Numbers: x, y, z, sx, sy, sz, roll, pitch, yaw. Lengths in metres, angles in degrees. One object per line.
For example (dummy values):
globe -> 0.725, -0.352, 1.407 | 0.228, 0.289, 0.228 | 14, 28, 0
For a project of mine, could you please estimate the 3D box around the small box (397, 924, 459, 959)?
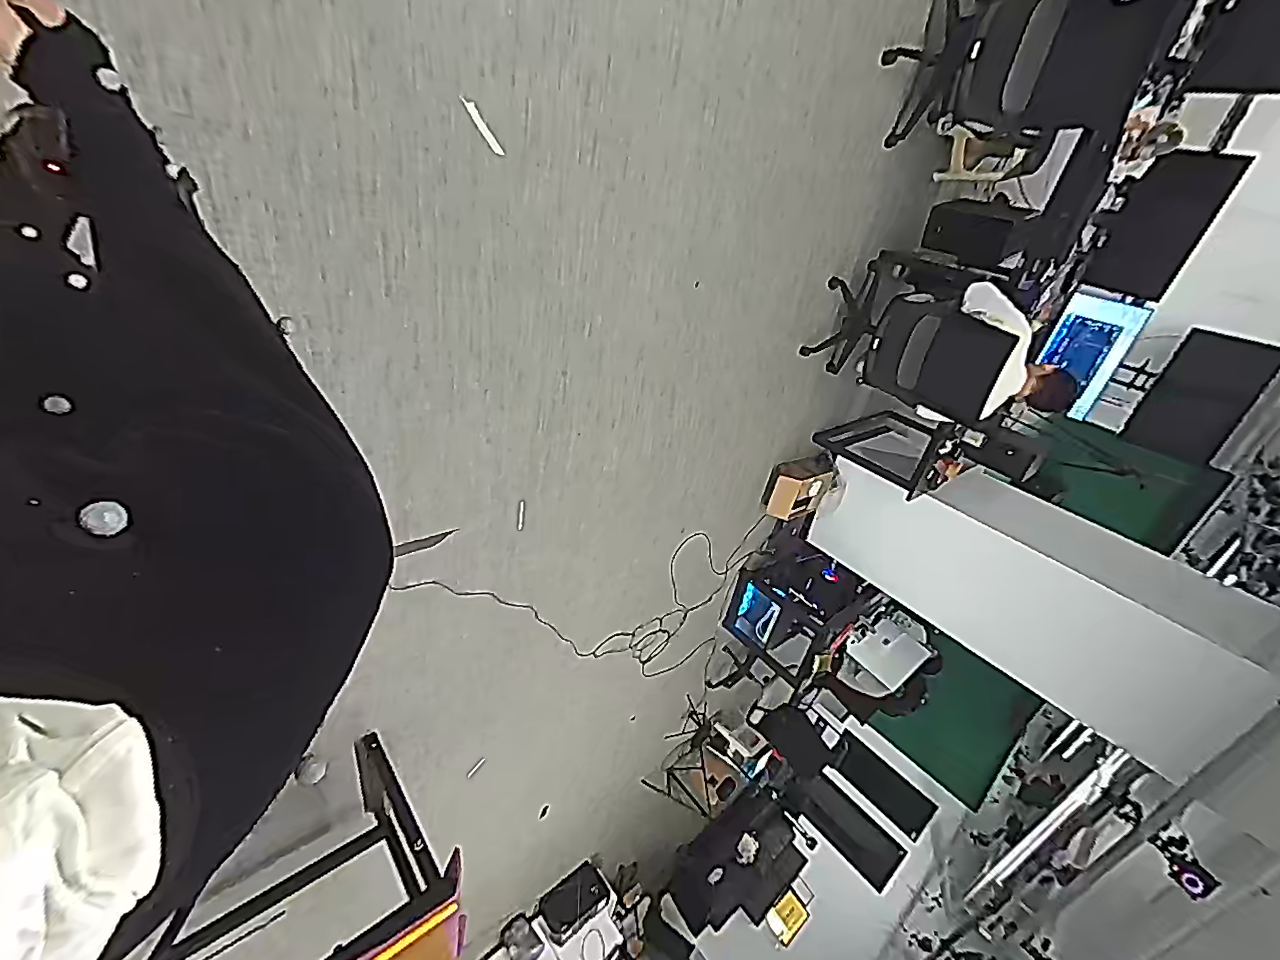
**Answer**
small box -> -0.687, 1.606, 1.747 | 0.179, 0.176, 0.168 | -17, 130, -38
